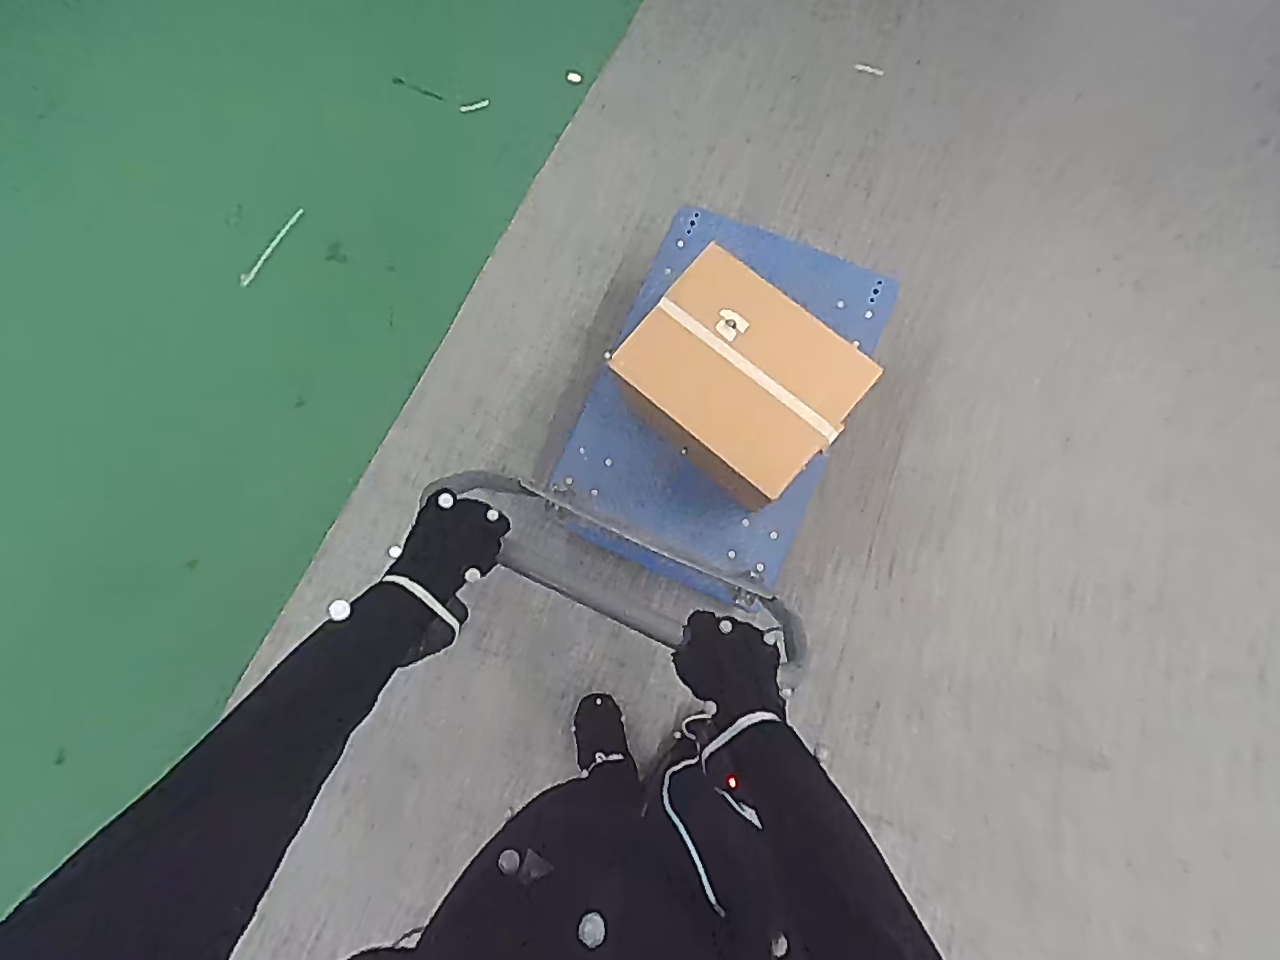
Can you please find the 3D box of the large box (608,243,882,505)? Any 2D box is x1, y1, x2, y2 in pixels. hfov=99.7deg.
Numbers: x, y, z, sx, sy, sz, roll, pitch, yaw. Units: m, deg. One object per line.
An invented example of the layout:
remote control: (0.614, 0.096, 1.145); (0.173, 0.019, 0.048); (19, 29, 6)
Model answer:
large box: (0.204, -0.193, 1.132); (0.408, 0.320, 0.320); (40, 88, 10)
